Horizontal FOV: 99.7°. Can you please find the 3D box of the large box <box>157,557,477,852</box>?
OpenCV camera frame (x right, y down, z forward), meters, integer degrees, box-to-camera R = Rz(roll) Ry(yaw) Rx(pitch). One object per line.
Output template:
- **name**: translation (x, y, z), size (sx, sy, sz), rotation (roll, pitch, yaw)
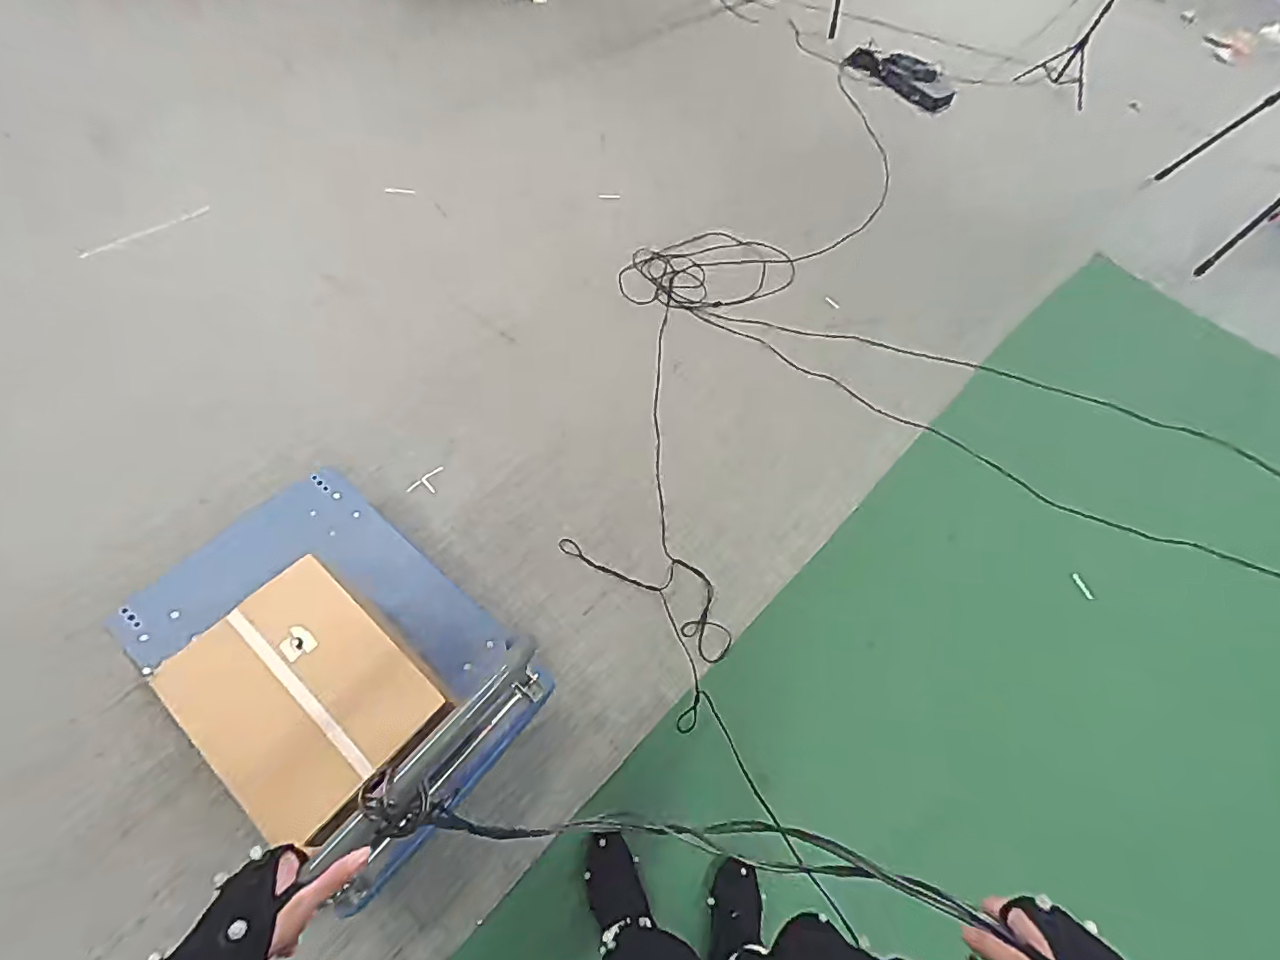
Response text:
- **large box**: translation (-0.594, 0.432, 1.069), size (0.408, 0.320, 0.320), rotation (39, 64, 14)
